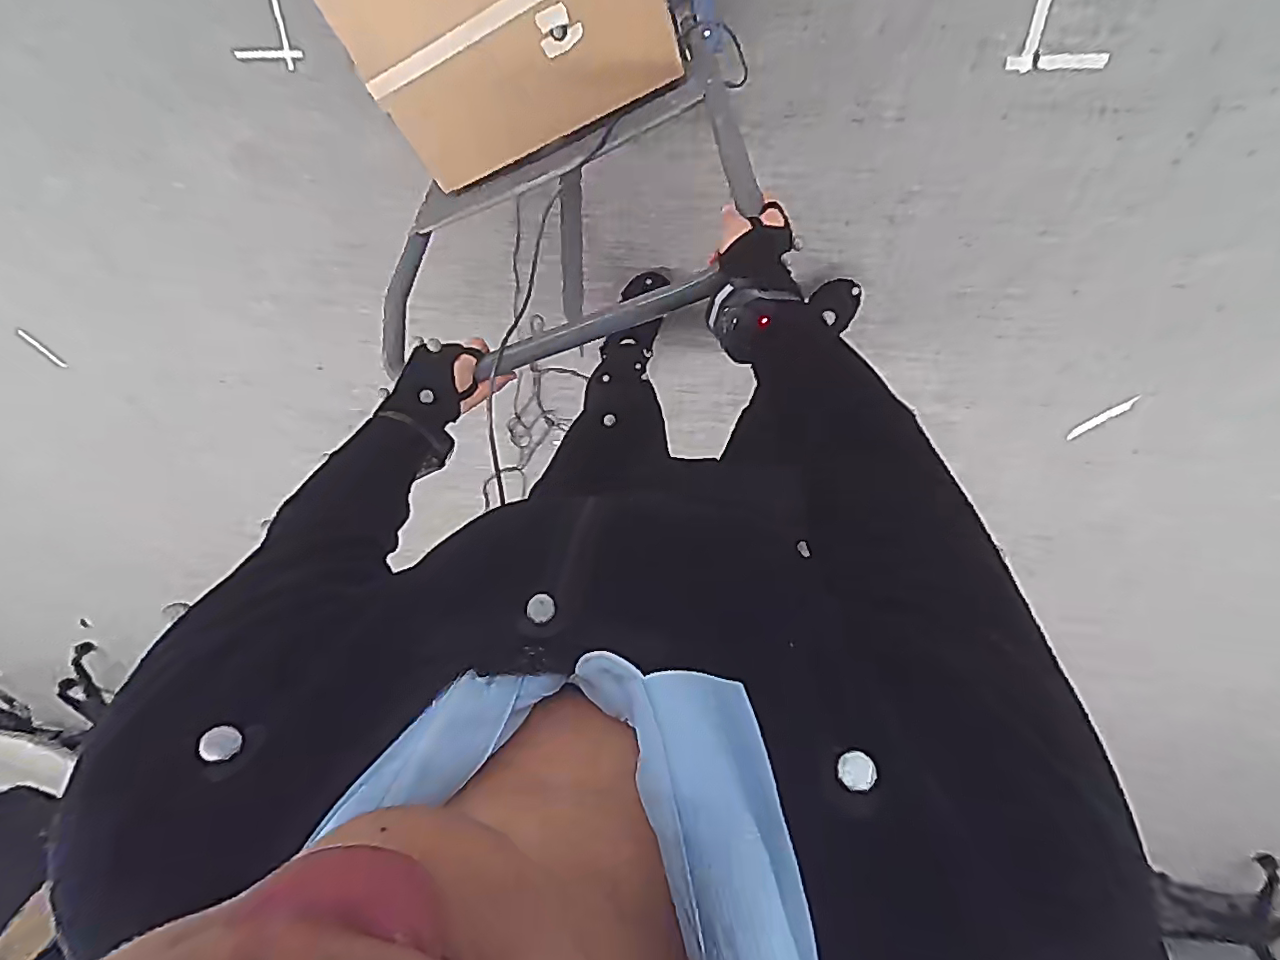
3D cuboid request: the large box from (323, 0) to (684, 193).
[{"bbox_3d":[-0.183,-0.711,0.794,0.408,0.320,0.320,-17,138,16],"label":"large box"}]
